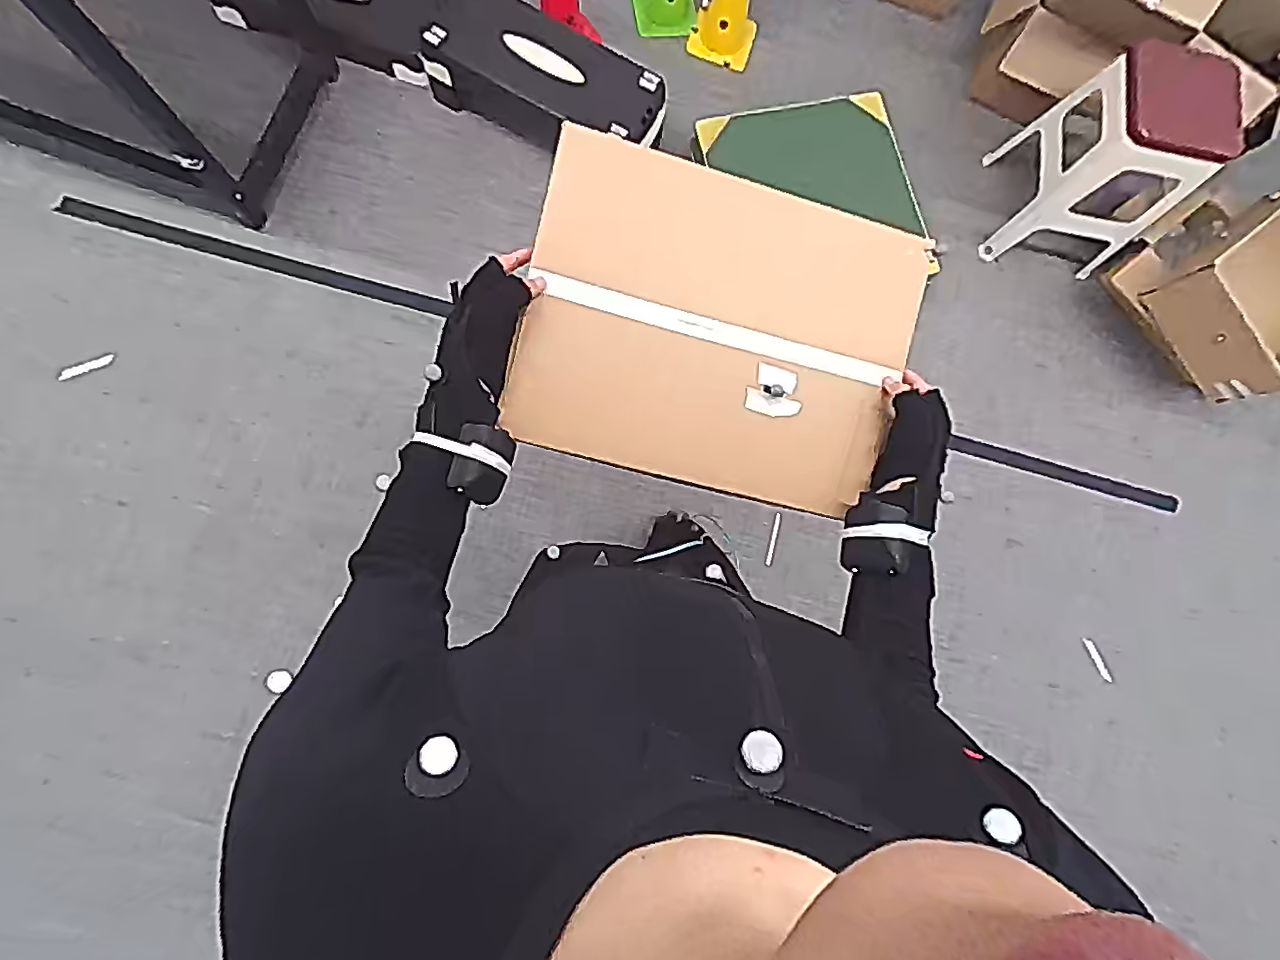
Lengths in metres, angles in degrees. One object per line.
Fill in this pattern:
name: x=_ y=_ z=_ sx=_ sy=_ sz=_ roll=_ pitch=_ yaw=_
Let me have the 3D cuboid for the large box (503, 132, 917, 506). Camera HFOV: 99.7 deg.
large box: x=0.062 y=-0.169 z=0.720 sx=0.408 sy=0.320 sz=0.320 roll=14 pitch=92 yaw=-8
